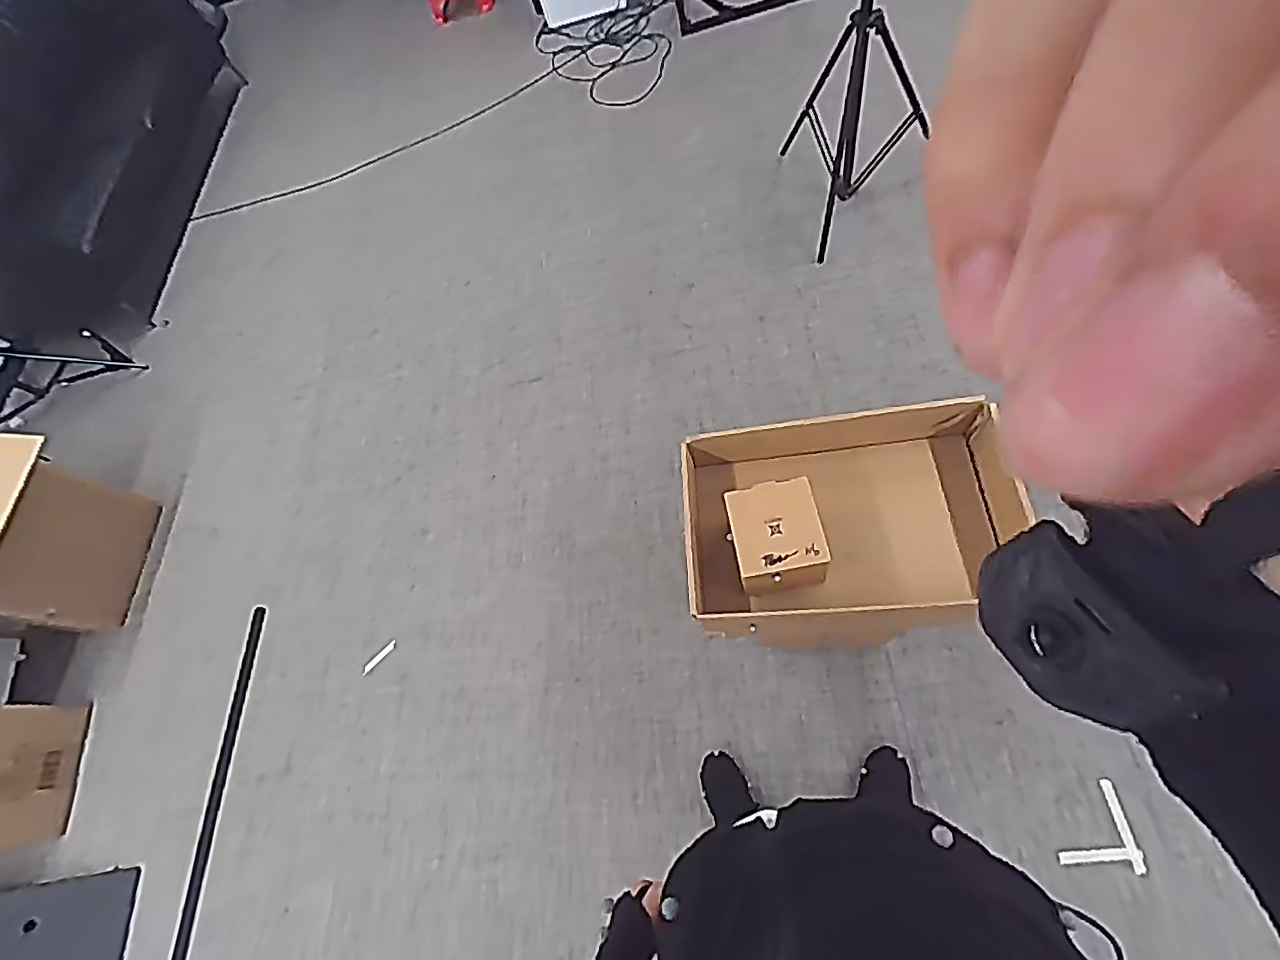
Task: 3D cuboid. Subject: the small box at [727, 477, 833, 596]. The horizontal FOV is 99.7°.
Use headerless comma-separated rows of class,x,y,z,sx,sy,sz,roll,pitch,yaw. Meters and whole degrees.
small box,0.276,0.120,1.085,0.168,0.176,0.179,-13,64,10
